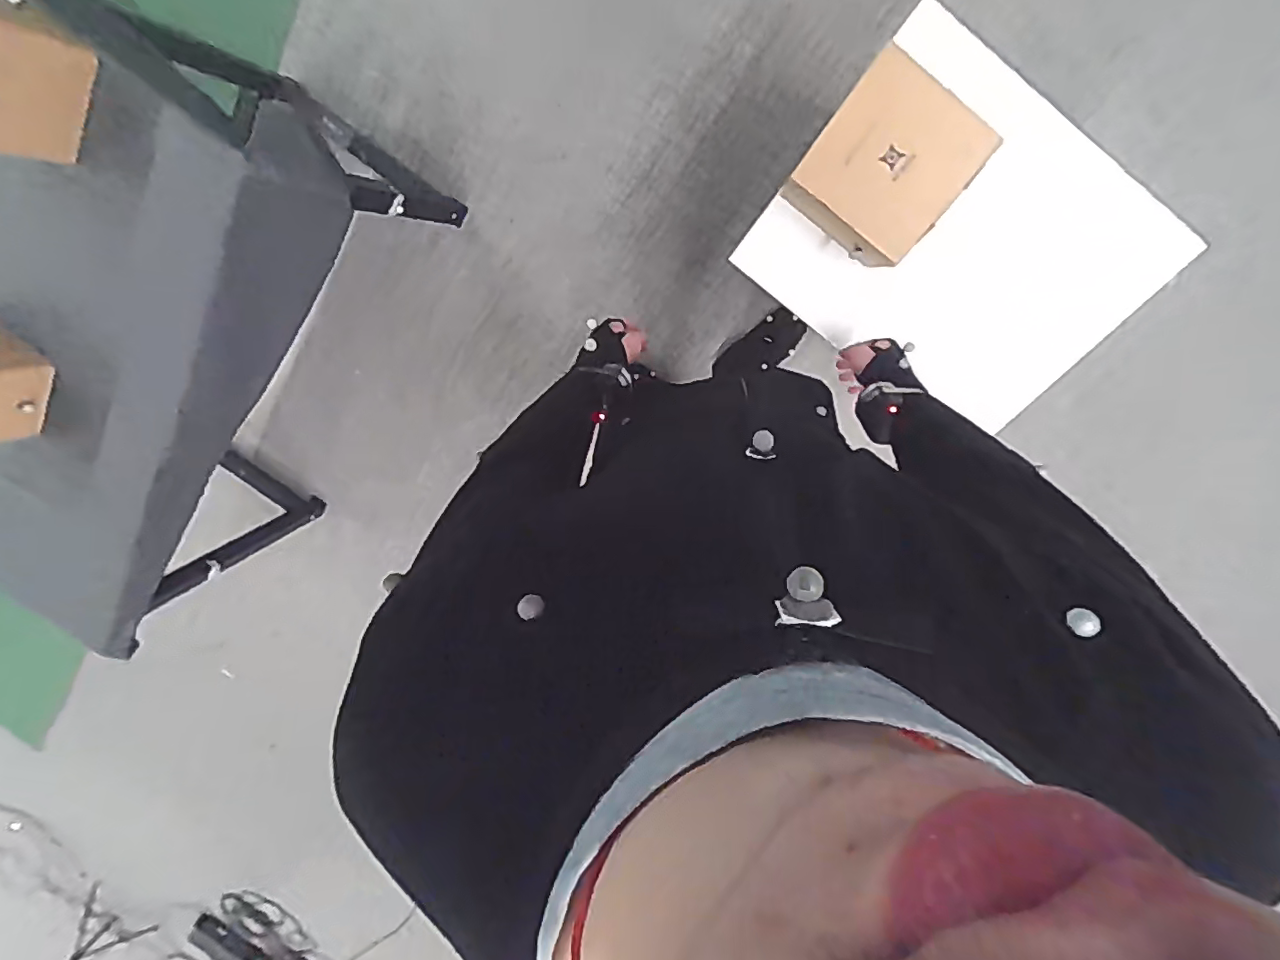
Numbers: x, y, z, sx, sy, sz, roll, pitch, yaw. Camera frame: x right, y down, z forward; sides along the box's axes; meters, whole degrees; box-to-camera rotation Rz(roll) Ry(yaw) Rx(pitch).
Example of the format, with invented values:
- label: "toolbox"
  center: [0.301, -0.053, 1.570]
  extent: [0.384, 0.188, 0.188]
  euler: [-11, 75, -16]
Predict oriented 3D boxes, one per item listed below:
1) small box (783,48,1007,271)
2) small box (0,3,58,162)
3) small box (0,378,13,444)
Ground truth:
- label: "small box"
  center: [0.309, -0.392, 0.699]
  extent: [0.179, 0.176, 0.168]
  euler: [35, 110, -5]
- label: "small box"
  center: [-0.909, -0.541, 0.682]
  extent: [0.168, 0.176, 0.179]
  euler: [38, 110, -6]
- label: "small box"
  center: [-1.197, -0.129, 0.877]
  extent: [0.168, 0.176, 0.179]
  euler: [37, 110, -5]
